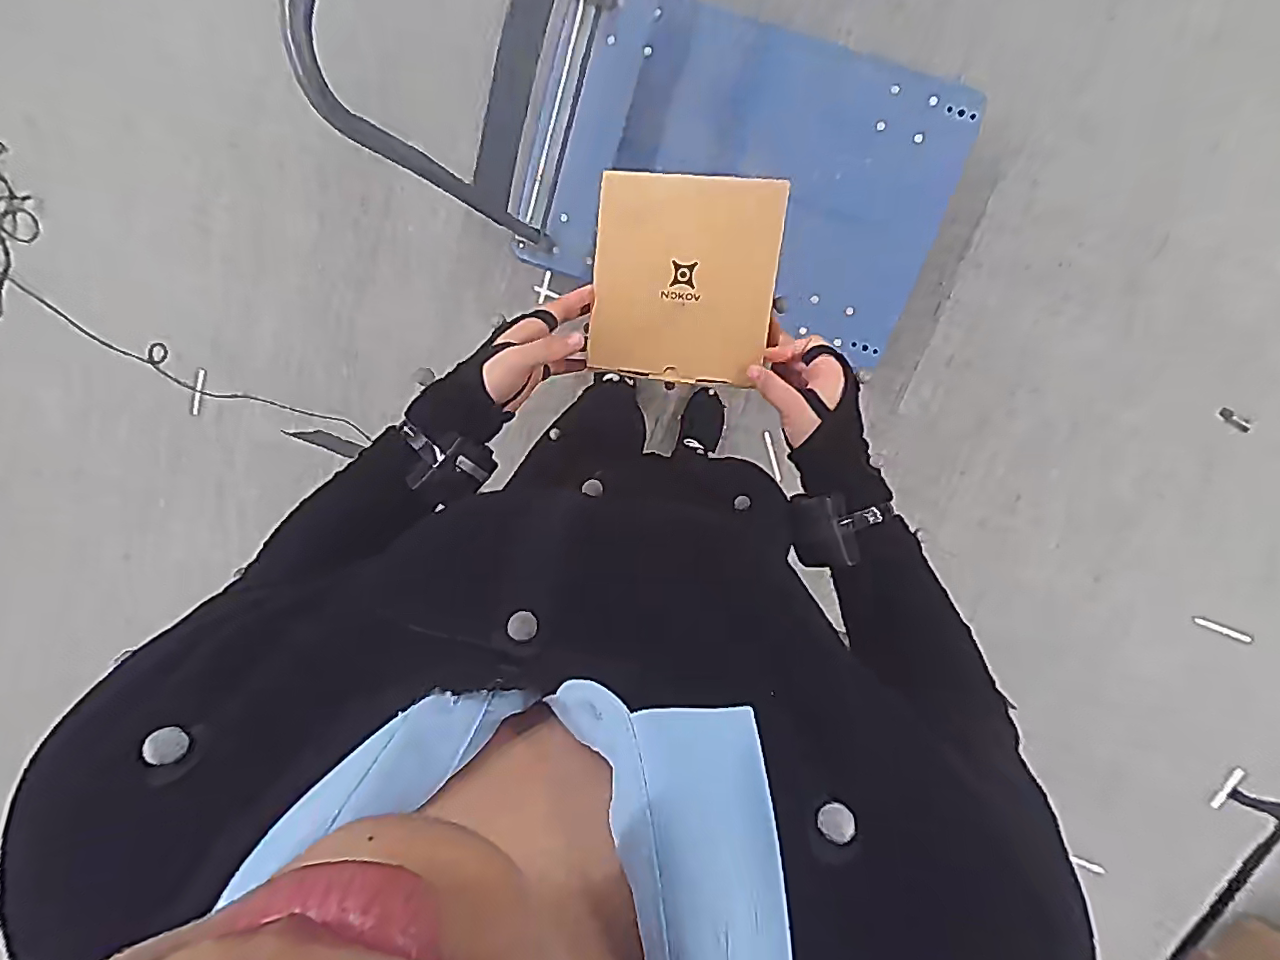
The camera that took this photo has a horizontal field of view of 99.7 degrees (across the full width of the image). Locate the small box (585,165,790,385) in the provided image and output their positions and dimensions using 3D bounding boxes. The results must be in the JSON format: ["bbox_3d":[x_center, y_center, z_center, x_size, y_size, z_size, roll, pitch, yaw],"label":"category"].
[{"bbox_3d":[0.050,-0.195,0.558,0.168,0.176,0.179,8,101,8],"label":"small box"}]
